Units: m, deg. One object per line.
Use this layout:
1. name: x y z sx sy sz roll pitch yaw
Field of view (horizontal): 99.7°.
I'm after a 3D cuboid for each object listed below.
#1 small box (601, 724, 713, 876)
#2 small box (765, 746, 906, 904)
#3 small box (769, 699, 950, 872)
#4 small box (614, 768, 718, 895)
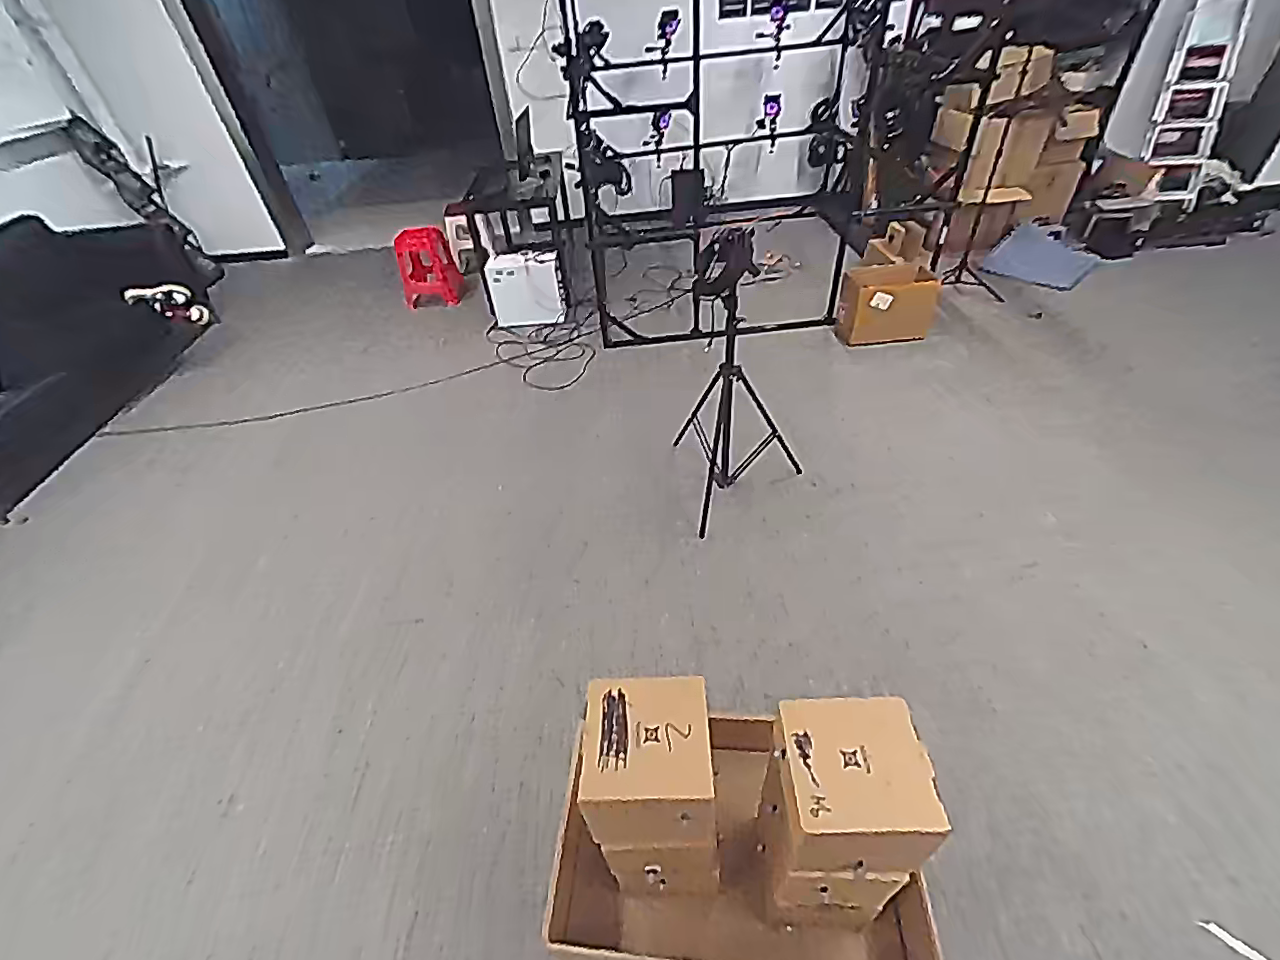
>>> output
1. small box: 0.031 0.529 0.895 0.168 0.176 0.179 -4 42 4
2. small box: 0.293 0.544 0.853 0.168 0.176 0.179 -1 41 5
3. small box: 0.284 0.420 0.746 0.179 0.176 0.168 -2 41 3
4. small box: 0.052 0.651 1.003 0.179 0.176 0.168 -1 42 4
